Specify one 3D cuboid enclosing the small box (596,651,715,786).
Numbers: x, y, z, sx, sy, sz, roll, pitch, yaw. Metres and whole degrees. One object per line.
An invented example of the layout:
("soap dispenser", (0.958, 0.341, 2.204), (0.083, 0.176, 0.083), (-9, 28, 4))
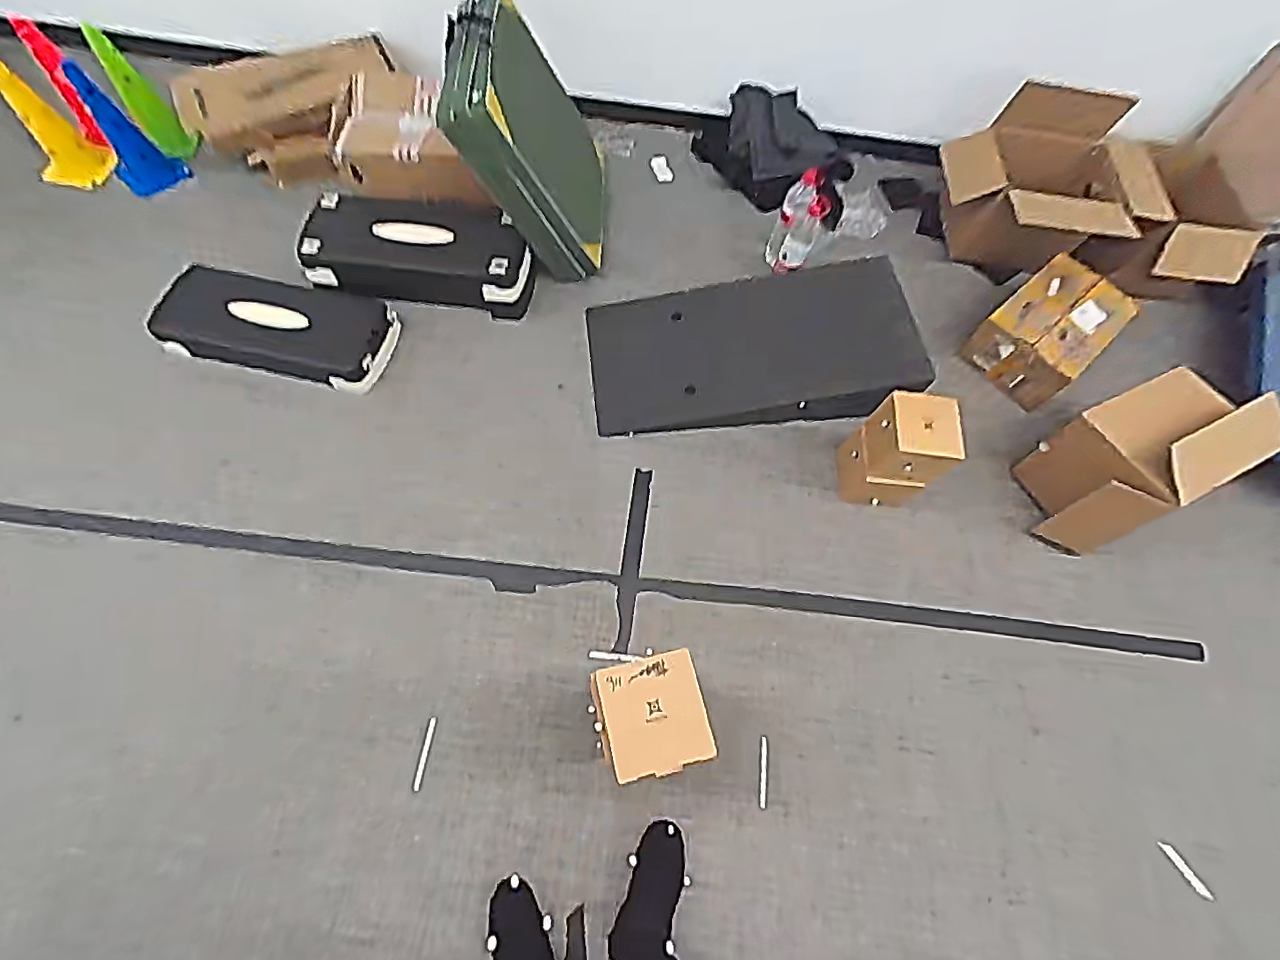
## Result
("small box", (0.019, 0.416, 0.958), (0.168, 0.176, 0.179), (-11, 68, -10))
